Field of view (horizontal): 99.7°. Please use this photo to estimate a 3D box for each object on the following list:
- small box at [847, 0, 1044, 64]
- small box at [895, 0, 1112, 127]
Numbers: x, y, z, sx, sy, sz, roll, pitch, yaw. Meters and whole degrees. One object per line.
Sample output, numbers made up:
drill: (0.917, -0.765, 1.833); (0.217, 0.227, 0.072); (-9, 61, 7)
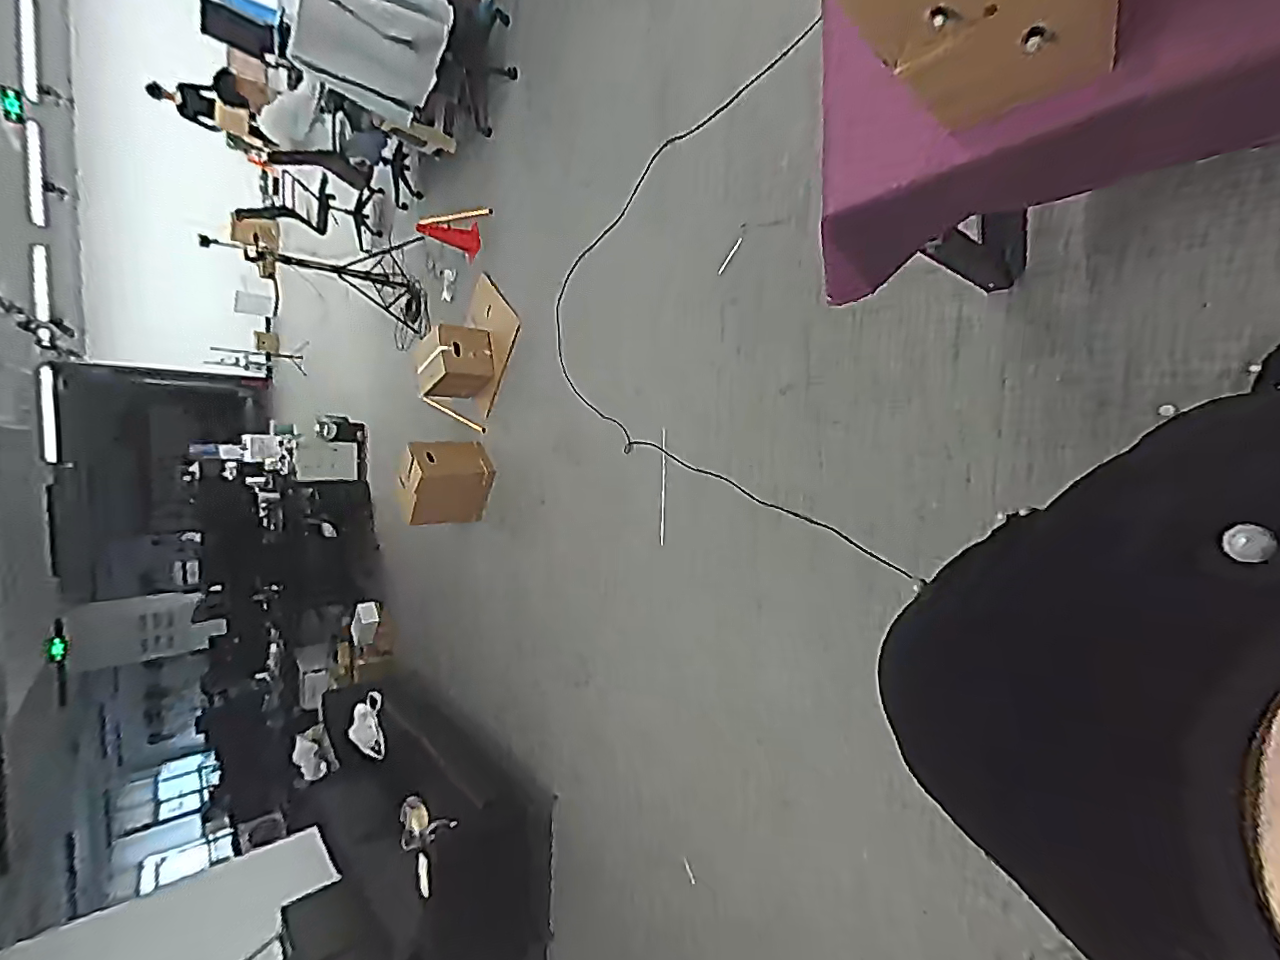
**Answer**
small box: (0.295, -0.556, 0.513); (0.168, 0.176, 0.179); (7, 97, 49)
small box: (0.420, -0.550, 0.618); (0.179, 0.176, 0.168); (6, 95, 49)
